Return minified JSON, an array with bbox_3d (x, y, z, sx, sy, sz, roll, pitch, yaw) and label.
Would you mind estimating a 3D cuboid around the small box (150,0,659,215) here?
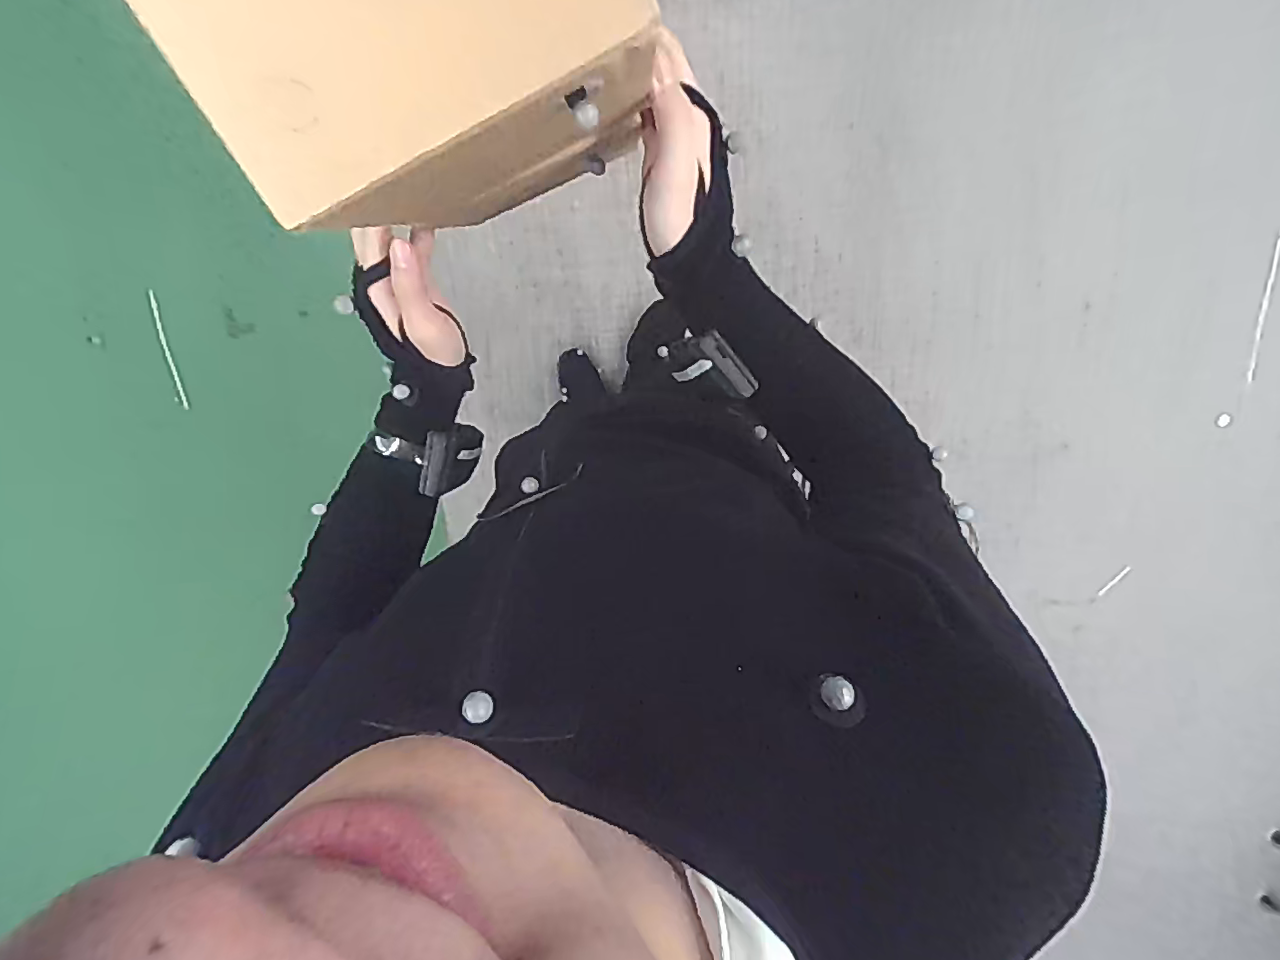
[{"bbox_3d":[-0.100,-0.241,0.252,0.179,0.176,0.168,-22,113,8],"label":"small box"}]
